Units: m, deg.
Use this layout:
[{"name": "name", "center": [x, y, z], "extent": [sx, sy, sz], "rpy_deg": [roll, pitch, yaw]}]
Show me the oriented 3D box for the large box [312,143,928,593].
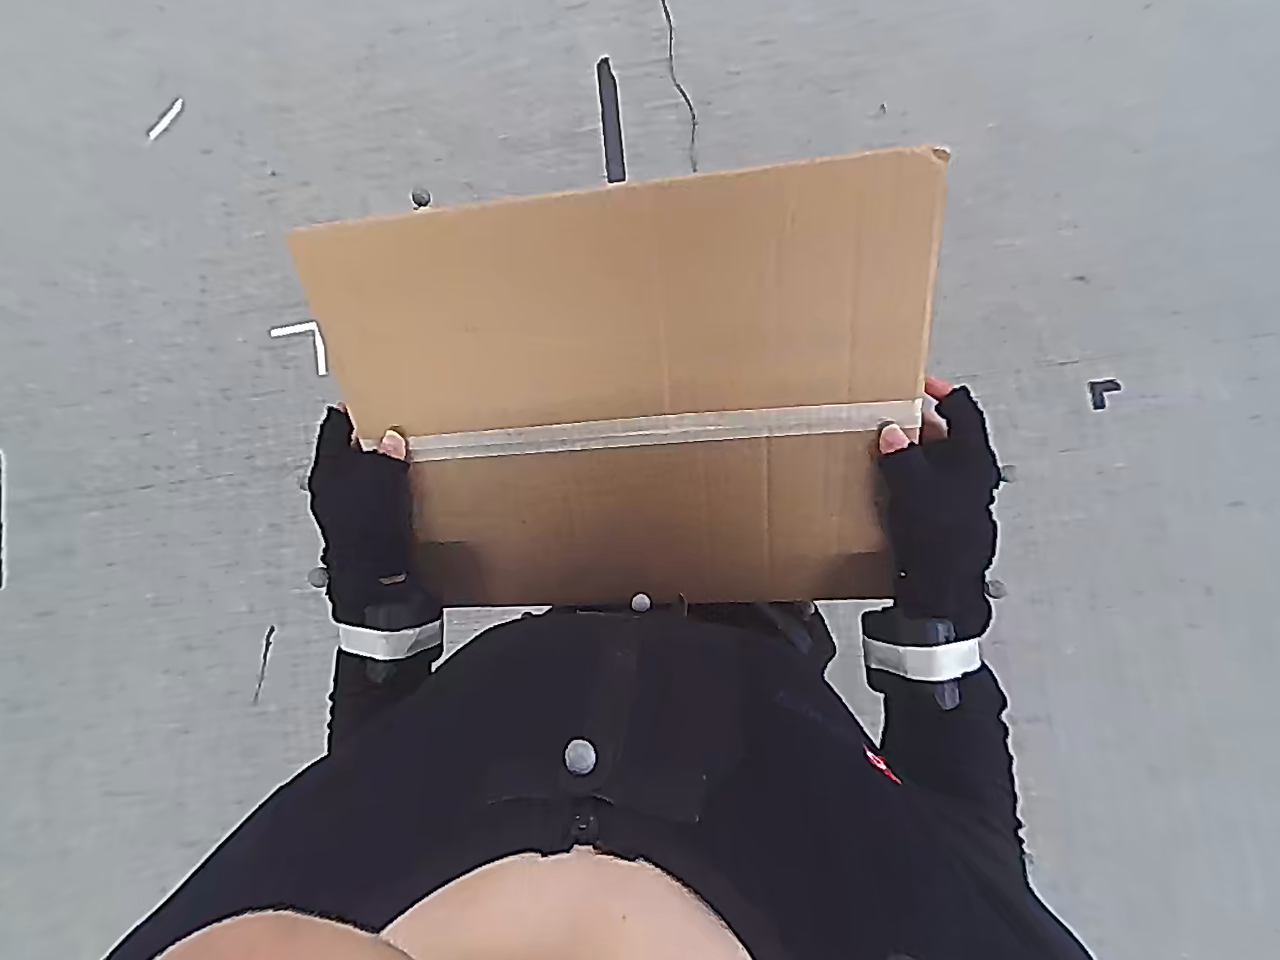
[{"name": "large box", "center": [0.001, -0.111, 0.534], "extent": [0.408, 0.320, 0.320], "rpy_deg": [-3, 118, 8]}]
